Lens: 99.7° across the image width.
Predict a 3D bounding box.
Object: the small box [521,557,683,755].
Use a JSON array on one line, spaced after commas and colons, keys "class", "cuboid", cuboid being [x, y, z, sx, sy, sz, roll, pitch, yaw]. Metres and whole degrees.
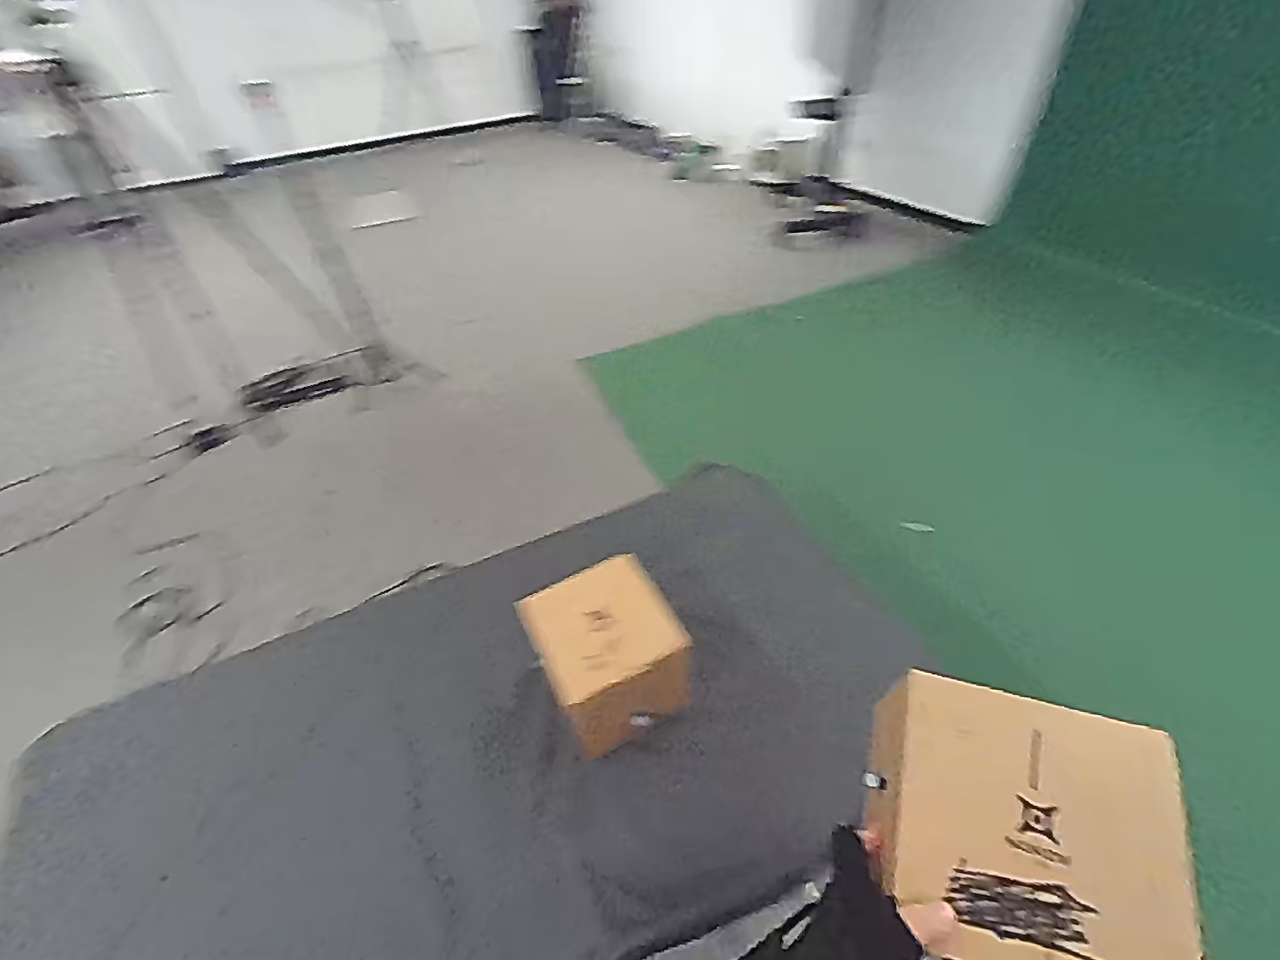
[{"class": "small box", "cuboid": [-0.051, 0.250, 0.774, 0.168, 0.176, 0.179, -23, 45, -17]}]
